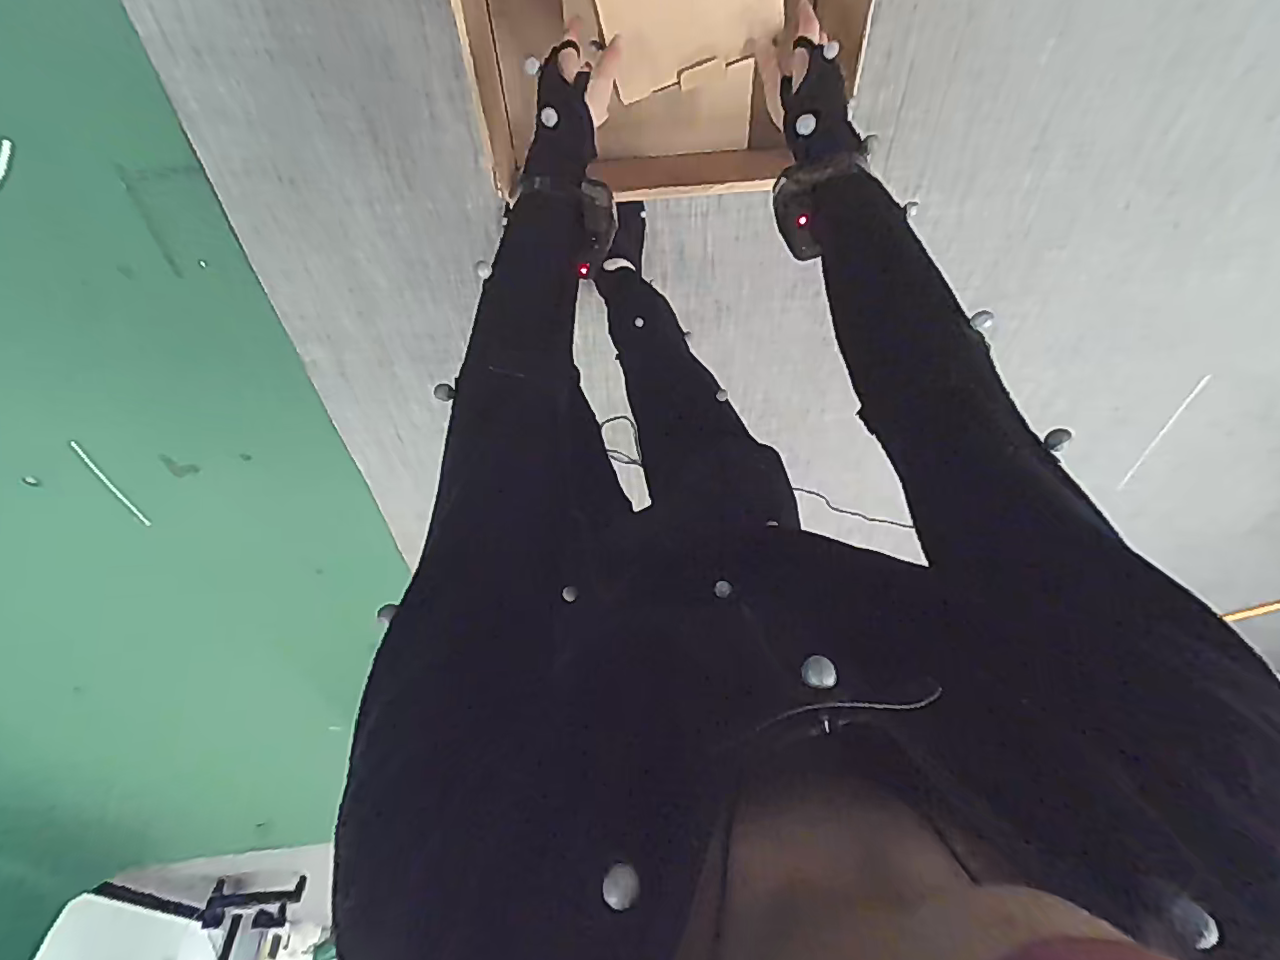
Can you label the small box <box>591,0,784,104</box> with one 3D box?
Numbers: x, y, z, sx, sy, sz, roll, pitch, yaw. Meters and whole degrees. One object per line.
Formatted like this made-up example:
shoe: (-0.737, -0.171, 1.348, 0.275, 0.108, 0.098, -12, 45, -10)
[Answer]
small box: (0.031, -0.502, 0.521, 0.168, 0.176, 0.179, -15, 133, 6)
